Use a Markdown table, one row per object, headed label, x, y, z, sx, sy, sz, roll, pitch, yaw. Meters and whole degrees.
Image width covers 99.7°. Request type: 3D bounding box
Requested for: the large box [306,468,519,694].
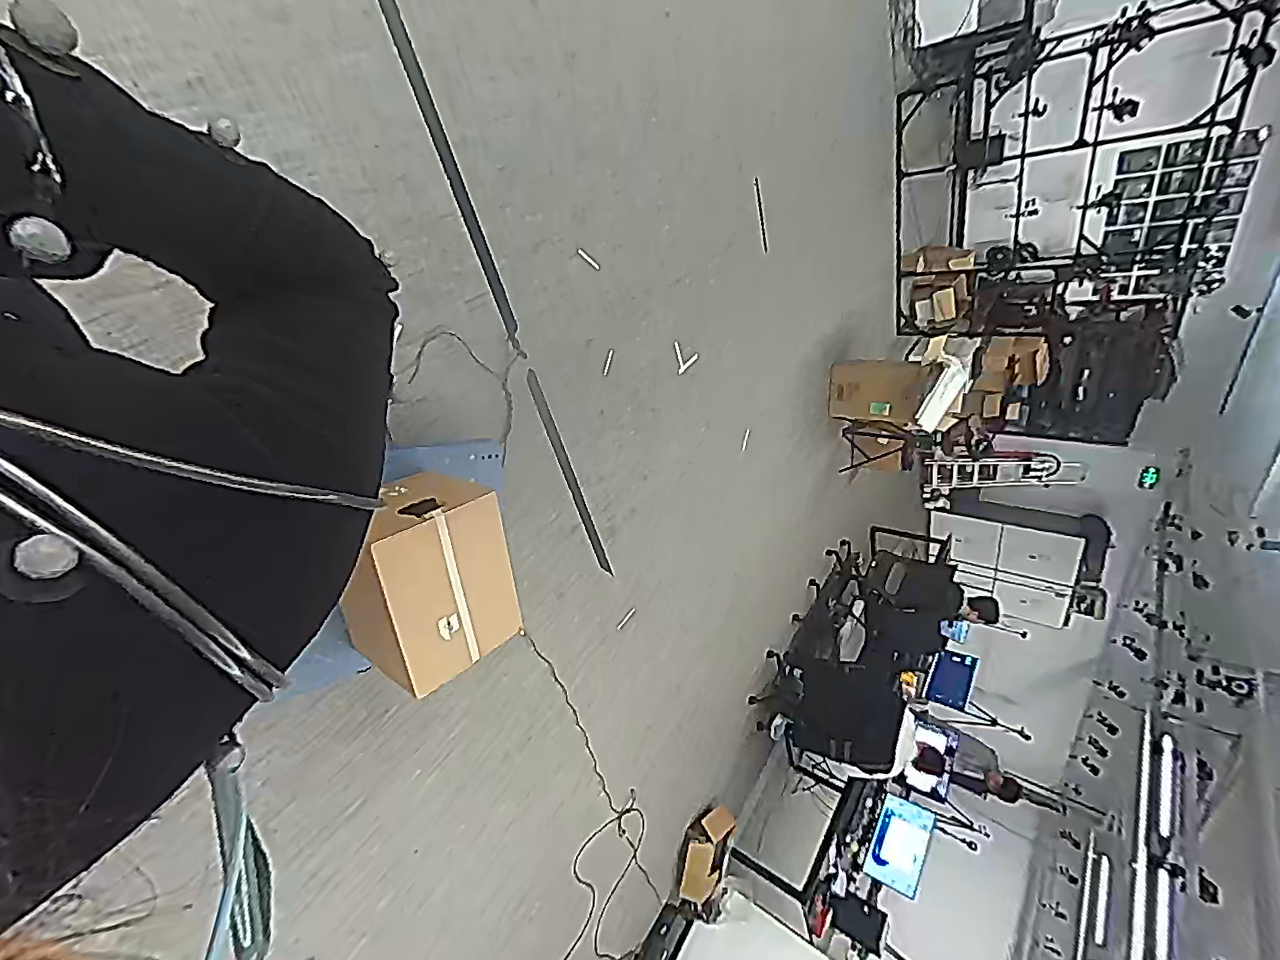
| label | x | y | z | sx | sy | sz | roll | pitch | yaw |
| --- | --- | --- | --- | --- | --- | --- | --- | --- | --- |
| large box | -0.547 | 0.223 | 1.333 | 0.320 | 0.320 | 0.408 | -28 | 122 | -44 |
